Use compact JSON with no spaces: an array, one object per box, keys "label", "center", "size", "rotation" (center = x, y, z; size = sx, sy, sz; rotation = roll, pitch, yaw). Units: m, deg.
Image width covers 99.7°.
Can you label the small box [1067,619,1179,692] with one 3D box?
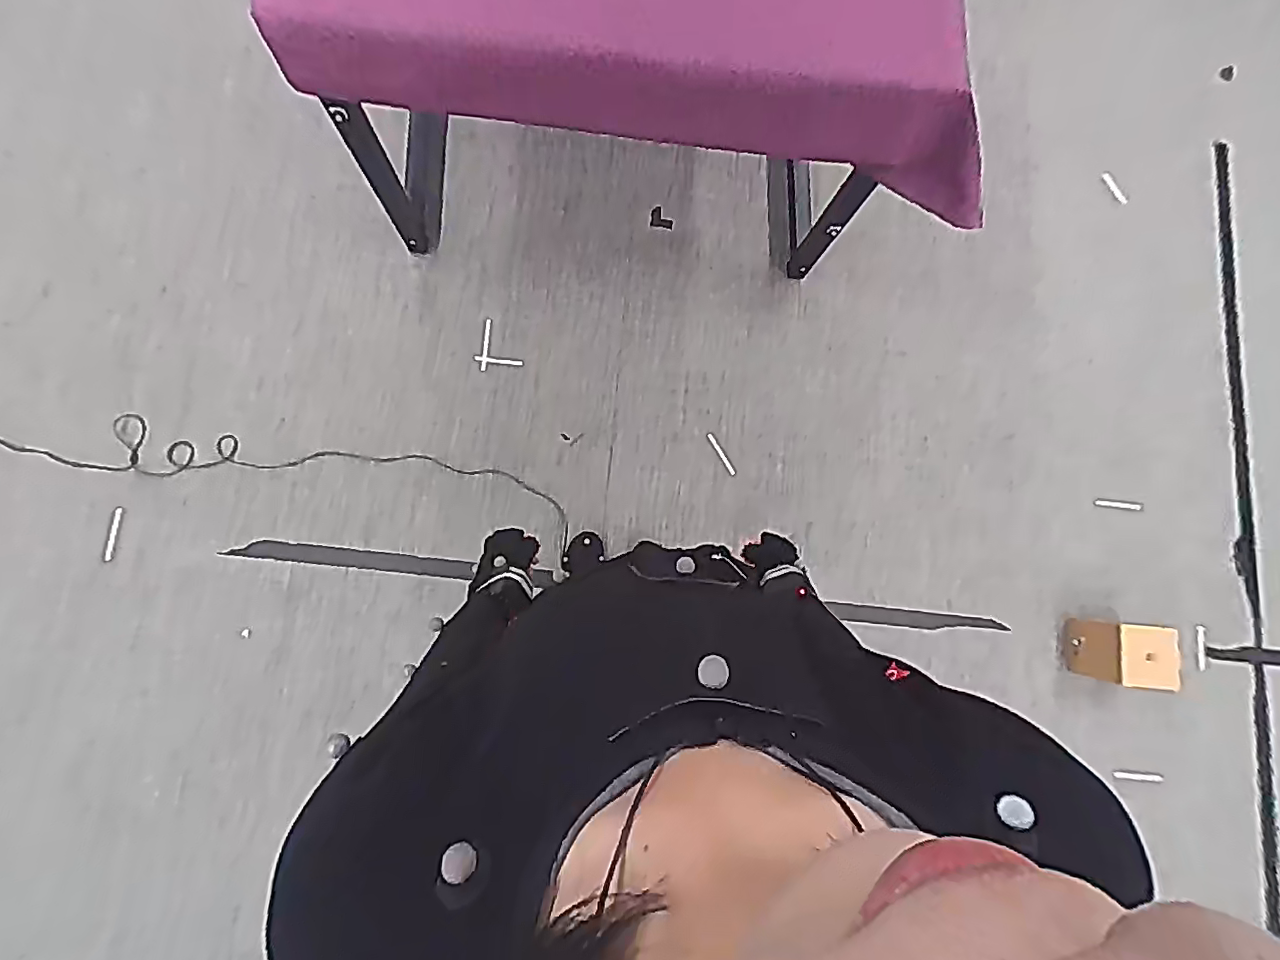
[{"label":"small box","center":[1.371,0.495,1.544],"size":[0.179,0.176,0.168],"rotation":[6,81,-4]}]
